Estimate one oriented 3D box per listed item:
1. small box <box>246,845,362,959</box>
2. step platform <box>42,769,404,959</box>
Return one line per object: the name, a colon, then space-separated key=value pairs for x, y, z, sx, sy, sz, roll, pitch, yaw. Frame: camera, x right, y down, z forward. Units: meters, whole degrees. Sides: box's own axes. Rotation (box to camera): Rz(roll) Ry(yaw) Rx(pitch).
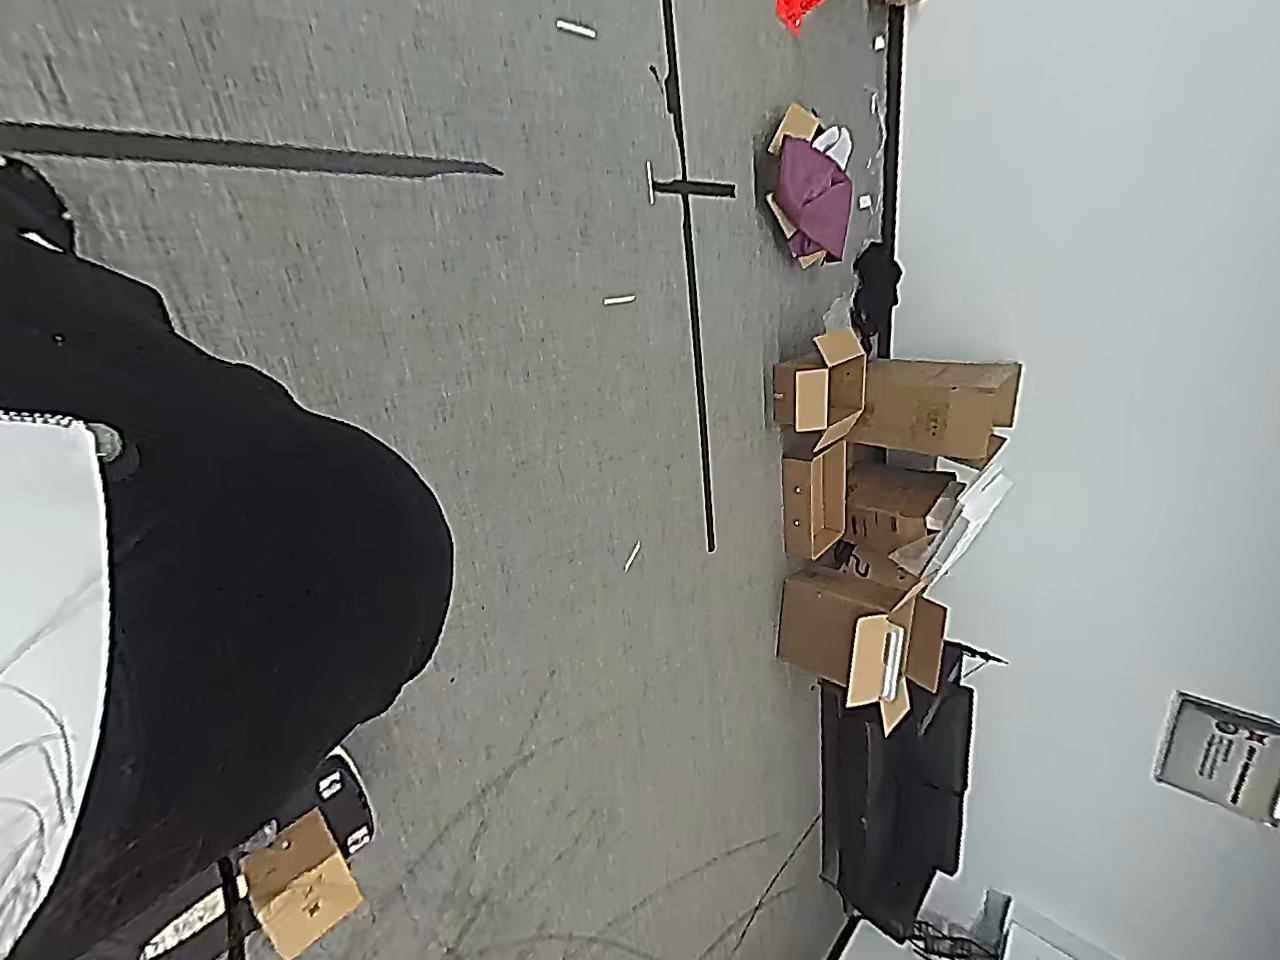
small box: x=-0.763 y=0.910 z=1.228 sx=0.168 sy=0.176 sz=0.179 roll=-27 pitch=118 yaw=-39
step platform: x=-0.857 y=0.928 z=1.083 sx=0.684 sy=0.204 sz=0.286 roll=-27 pitch=118 yaw=-39
